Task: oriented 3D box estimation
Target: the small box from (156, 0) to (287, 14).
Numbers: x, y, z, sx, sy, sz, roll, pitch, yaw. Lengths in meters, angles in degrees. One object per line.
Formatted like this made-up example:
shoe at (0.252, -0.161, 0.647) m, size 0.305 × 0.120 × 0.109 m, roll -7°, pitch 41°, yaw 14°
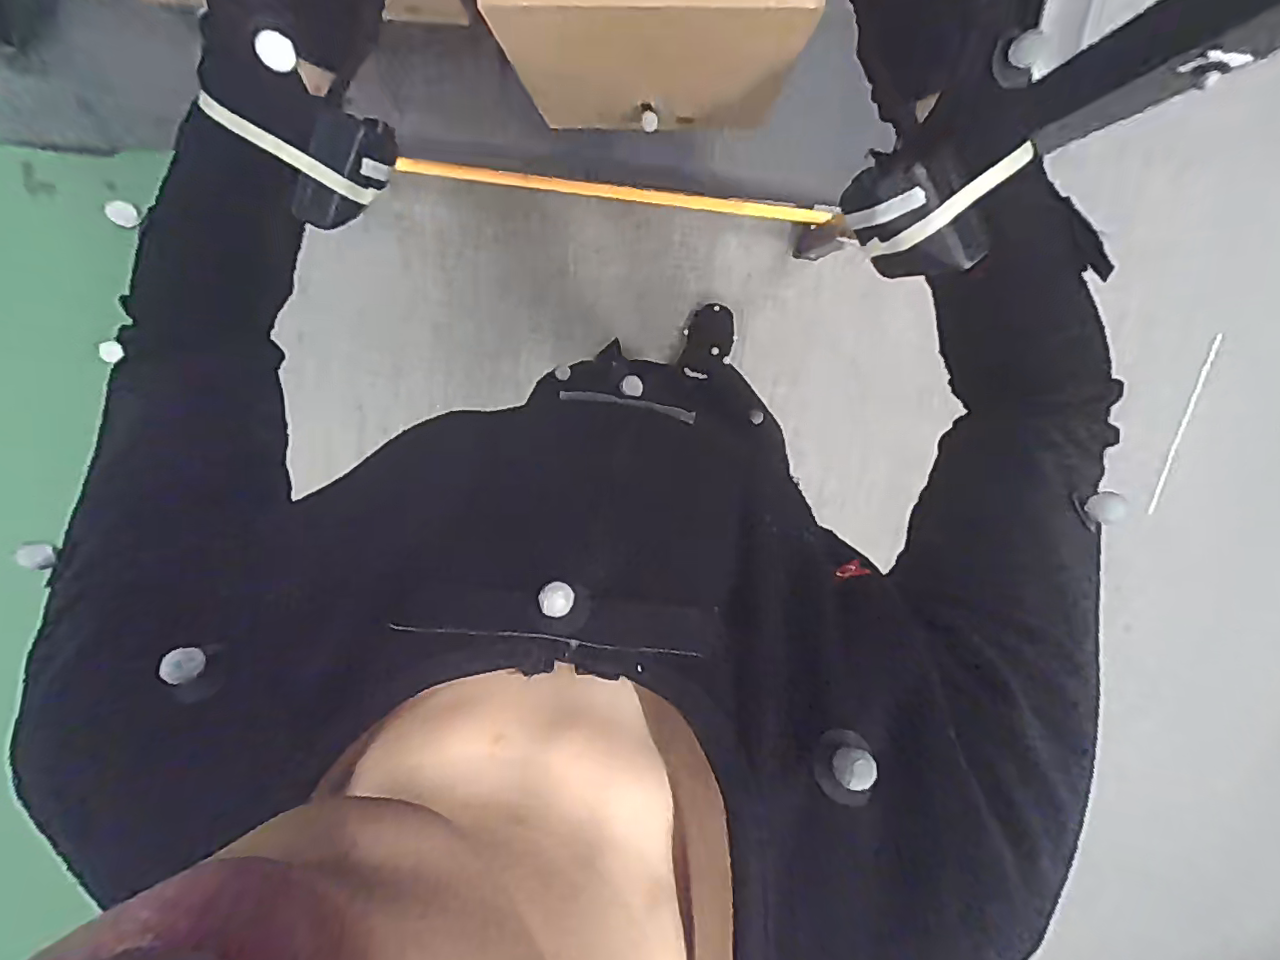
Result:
small box at (-0.466, -0.592, 0.506) m, size 0.168 × 0.176 × 0.179 m, roll 4°, pitch 105°, yaw 0°
